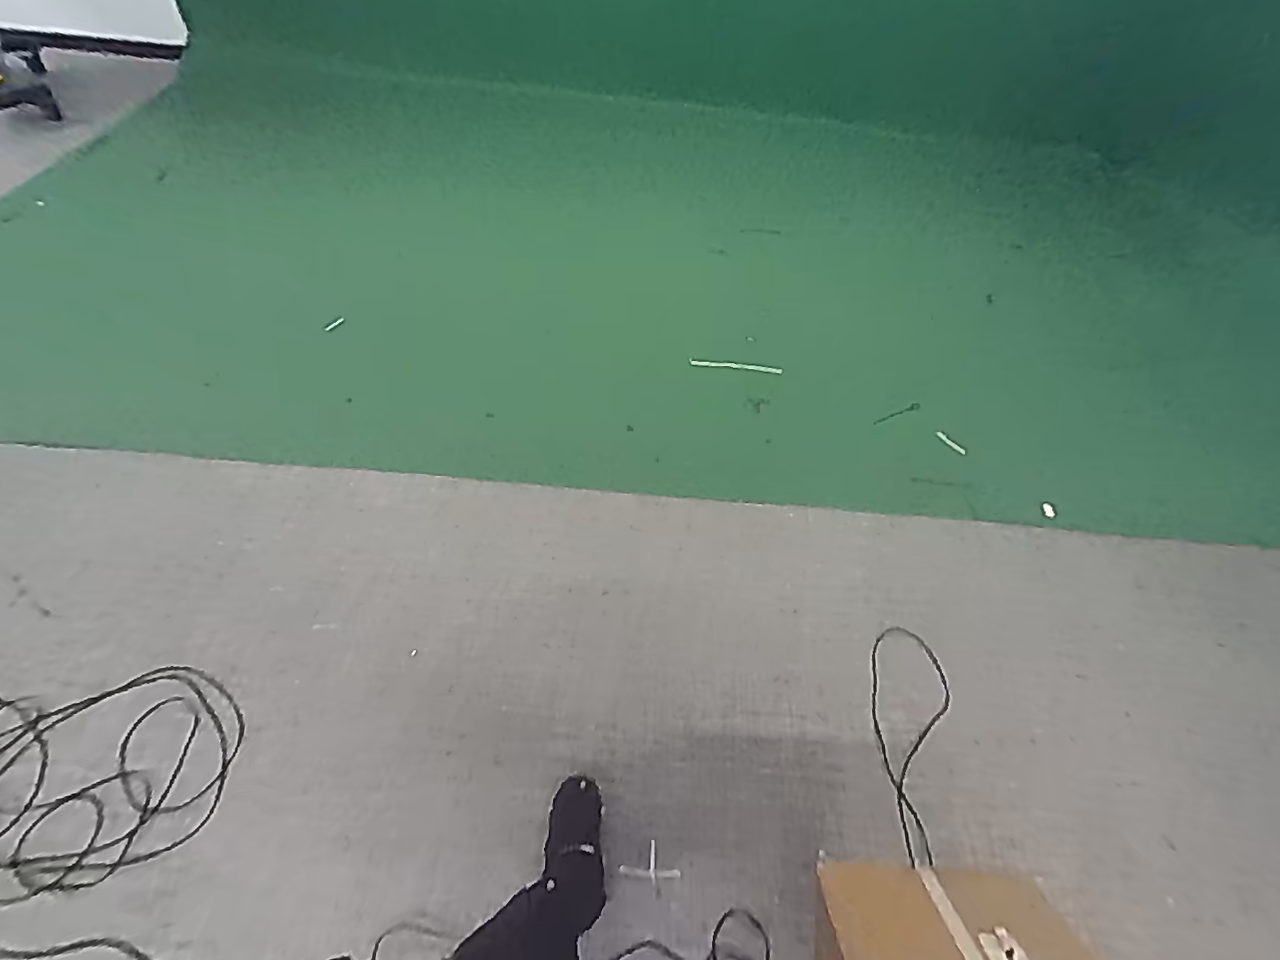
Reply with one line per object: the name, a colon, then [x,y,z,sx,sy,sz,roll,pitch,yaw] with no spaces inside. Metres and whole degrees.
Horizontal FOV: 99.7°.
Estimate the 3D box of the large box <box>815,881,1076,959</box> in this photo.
large box: [0.403,0.768,0.619,0.320,0.408,0.320,1,92,5]
